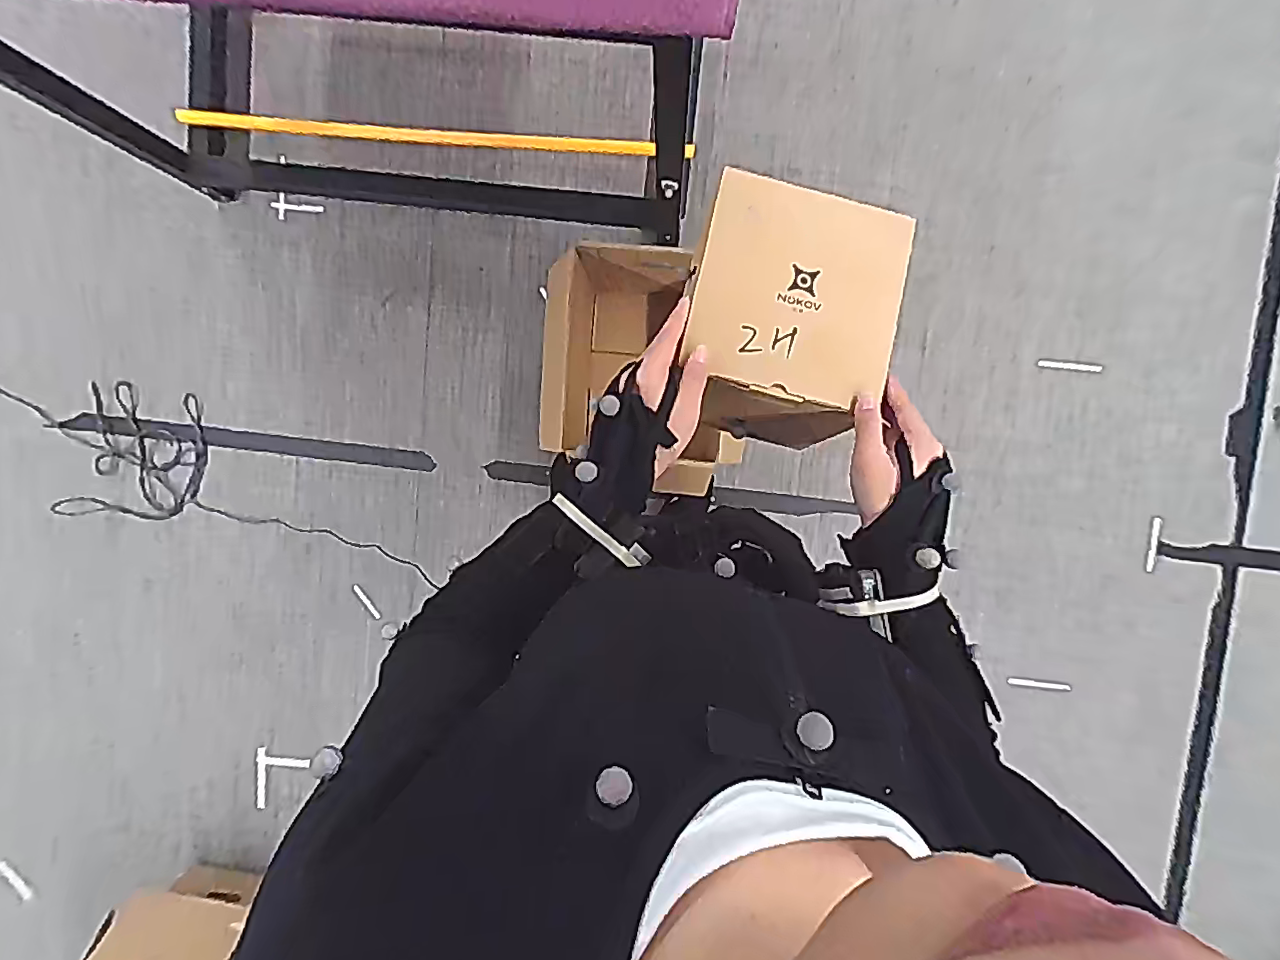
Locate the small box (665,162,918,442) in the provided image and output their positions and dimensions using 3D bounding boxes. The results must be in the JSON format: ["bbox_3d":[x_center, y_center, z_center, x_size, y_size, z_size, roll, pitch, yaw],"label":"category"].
[{"bbox_3d":[0.125,-0.147,0.508,0.168,0.176,0.179,13,84,-2],"label":"small box"}]
